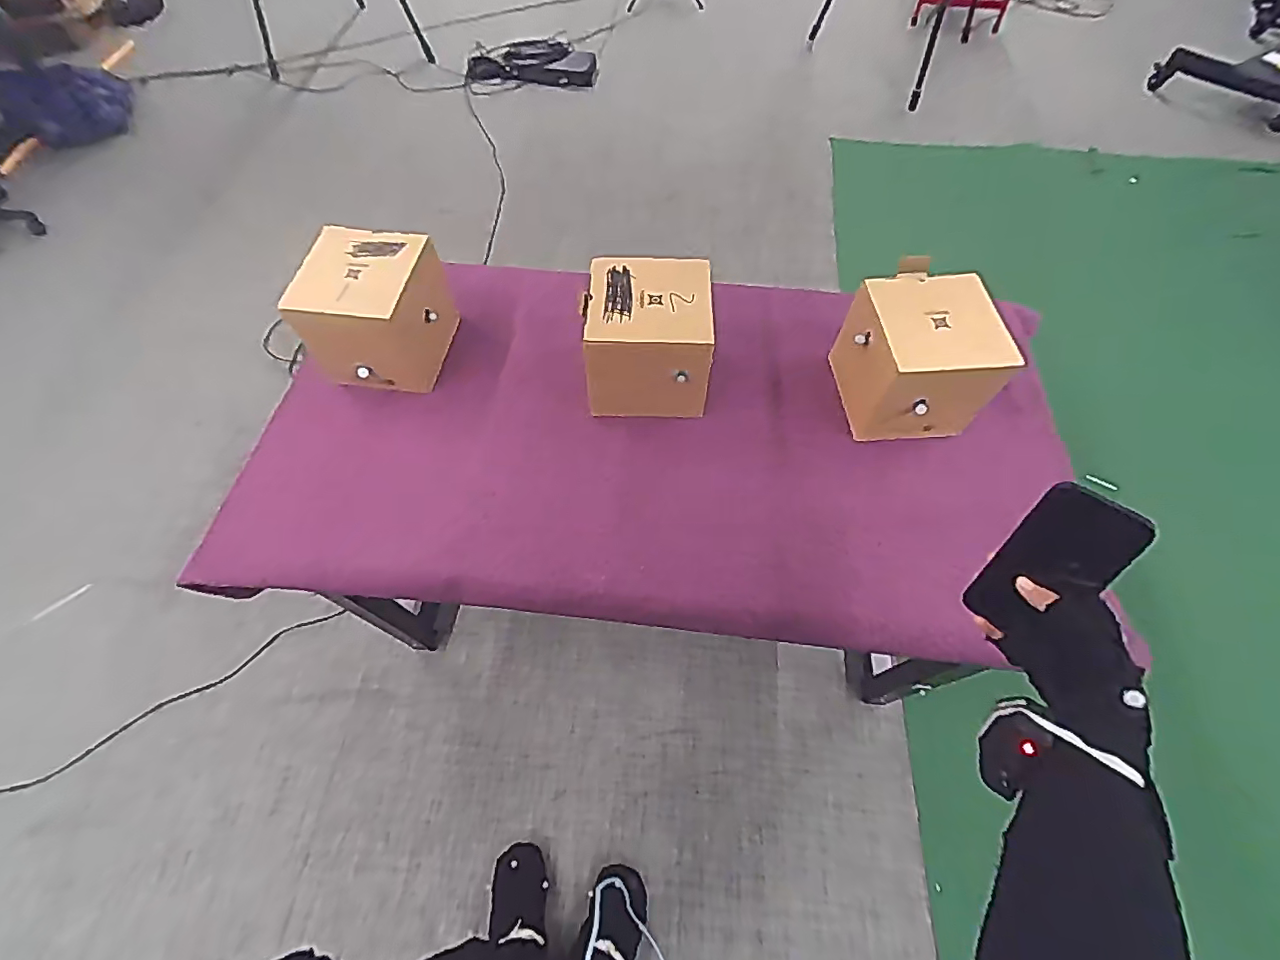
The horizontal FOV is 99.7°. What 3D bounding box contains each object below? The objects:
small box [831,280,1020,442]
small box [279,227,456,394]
[{"bbox_3d":[0.402,-0.166,0.798,0.168,0.176,0.179,-3,60,-1],"label":"small box"},{"bbox_3d":[-0.406,-0.261,0.846,0.168,0.176,0.179,7,62,4],"label":"small box"}]
